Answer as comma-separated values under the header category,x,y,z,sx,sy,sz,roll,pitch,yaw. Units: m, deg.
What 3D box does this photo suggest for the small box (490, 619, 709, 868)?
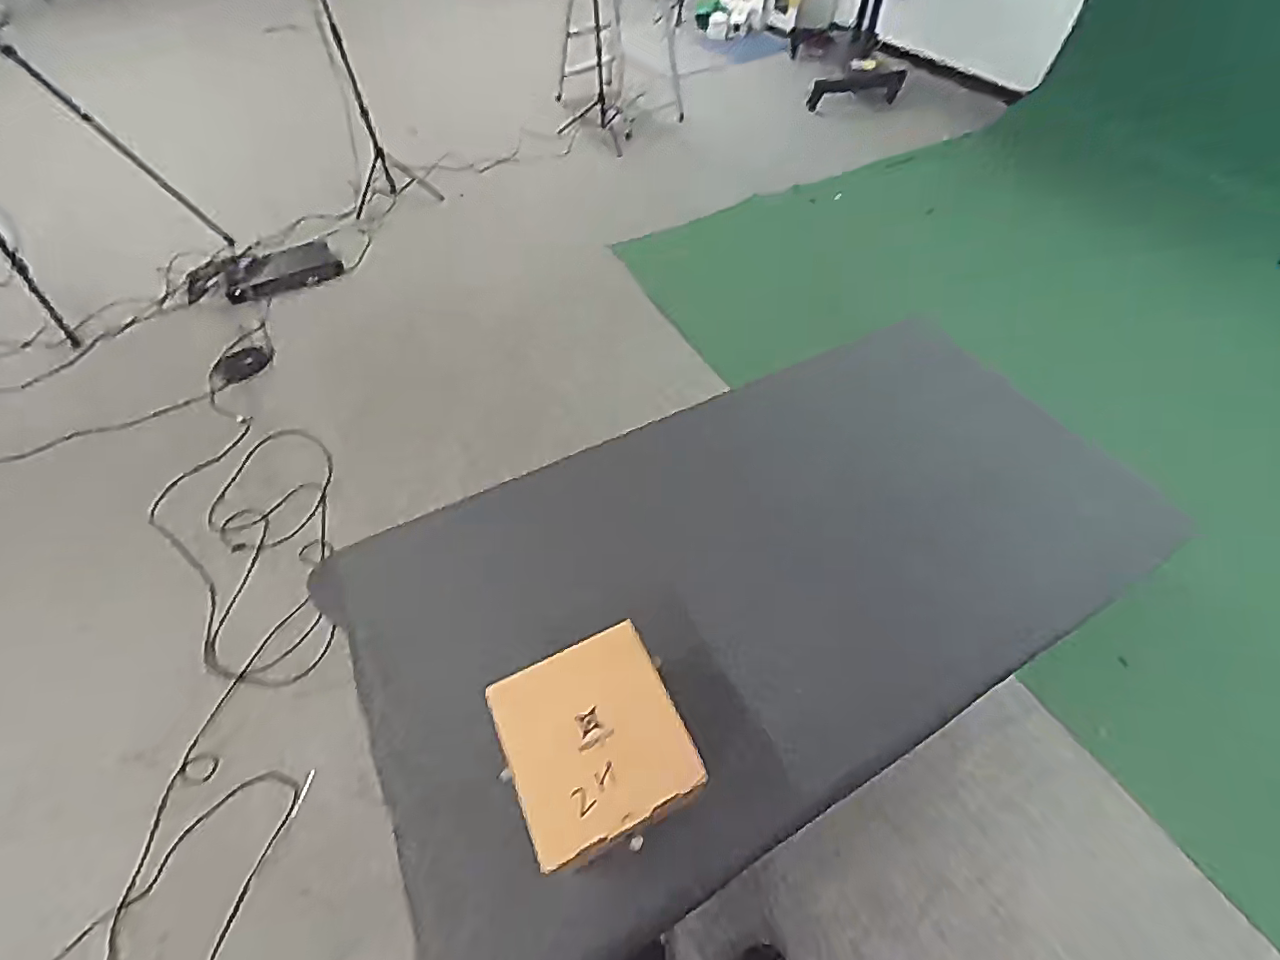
category,x,y,z,sx,sy,sz,roll,pitch,yaw
small box,-0.046,0.287,0.585,0.168,0.176,0.179,-22,57,-15
